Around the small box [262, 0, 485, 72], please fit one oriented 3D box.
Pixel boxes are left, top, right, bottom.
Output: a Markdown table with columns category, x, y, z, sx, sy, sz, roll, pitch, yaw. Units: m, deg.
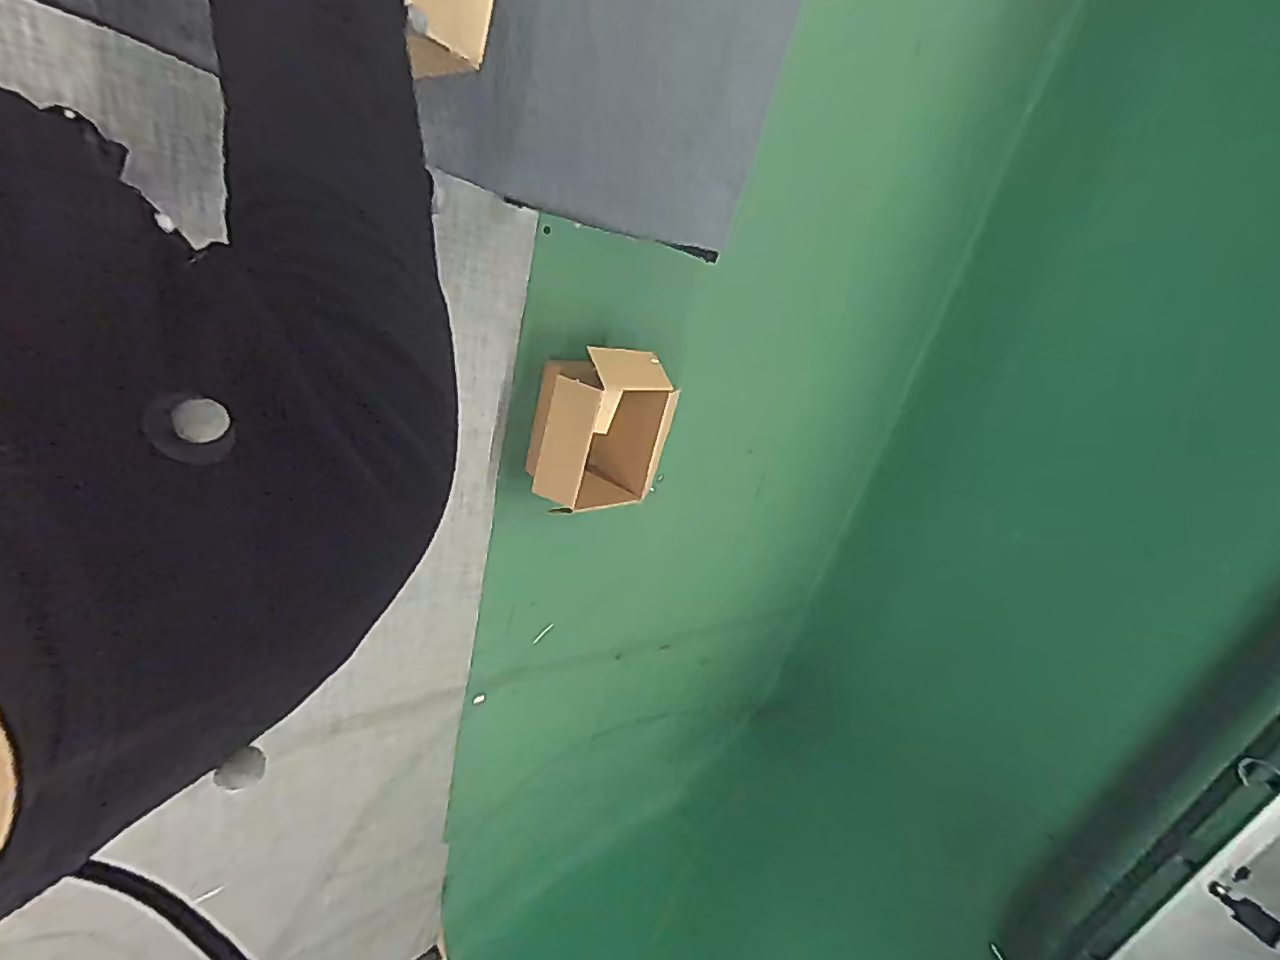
| category | x | y | z | sx | sy | sz | roll | pitch | yaw |
| --- | --- | --- | --- | --- | --- | --- | --- | --- | --- |
| small box | -0.241 | -0.498 | 0.473 | 0.168 | 0.176 | 0.179 | -1 | 116 | -47 |
